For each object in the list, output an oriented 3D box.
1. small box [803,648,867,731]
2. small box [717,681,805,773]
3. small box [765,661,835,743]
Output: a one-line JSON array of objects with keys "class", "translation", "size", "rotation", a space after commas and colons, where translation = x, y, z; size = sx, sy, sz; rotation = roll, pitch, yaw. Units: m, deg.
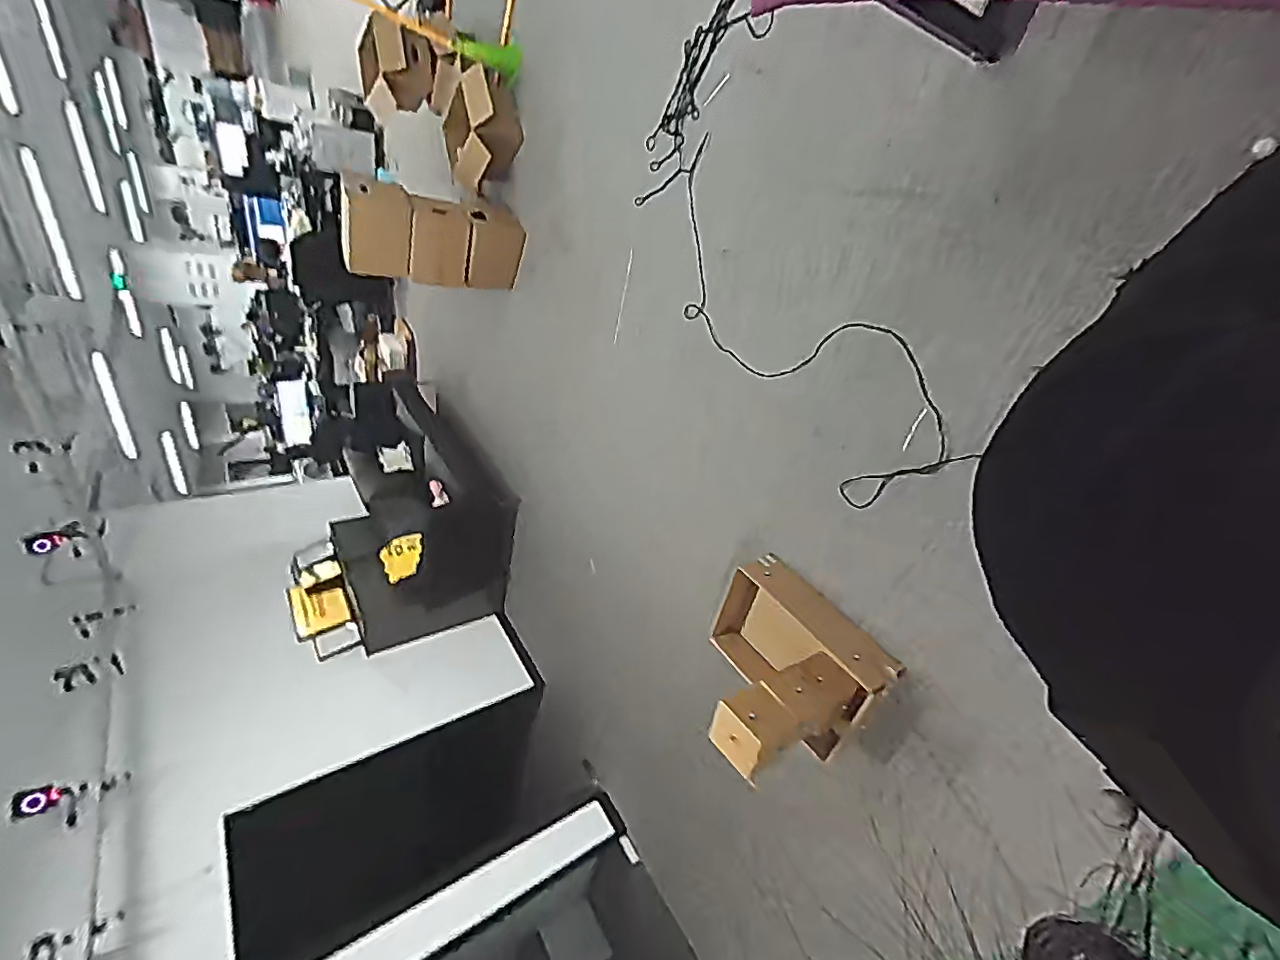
[{"class": "small box", "translation": [0.635, 0.705, 1.840], "size": [0.179, 0.176, 0.168], "rotation": [41, 130, 43]}, {"class": "small box", "translation": [0.369, 0.745, 1.657], "size": [0.179, 0.176, 0.168], "rotation": [37, 126, 44]}, {"class": "small box", "translation": [0.500, 0.718, 1.749], "size": [0.168, 0.176, 0.179], "rotation": [45, 132, 40]}]
